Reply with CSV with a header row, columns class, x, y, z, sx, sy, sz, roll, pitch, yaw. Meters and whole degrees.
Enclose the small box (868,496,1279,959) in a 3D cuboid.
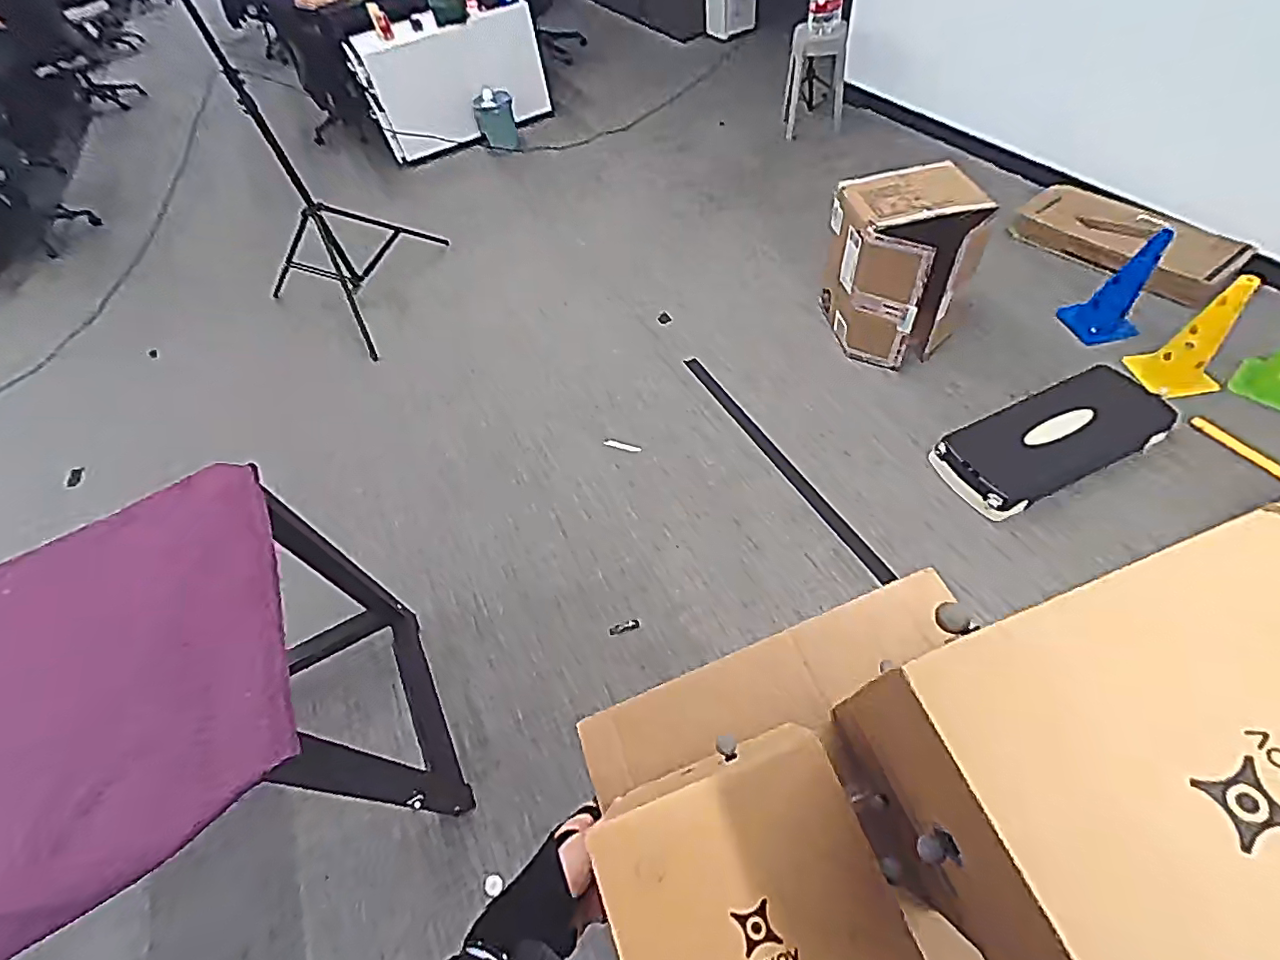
class,x,y,z,sx,sy,sz,roll,pitch,yaw
small box,0.227,0.138,0.249,0.179,0.176,0.168,-23,61,1
